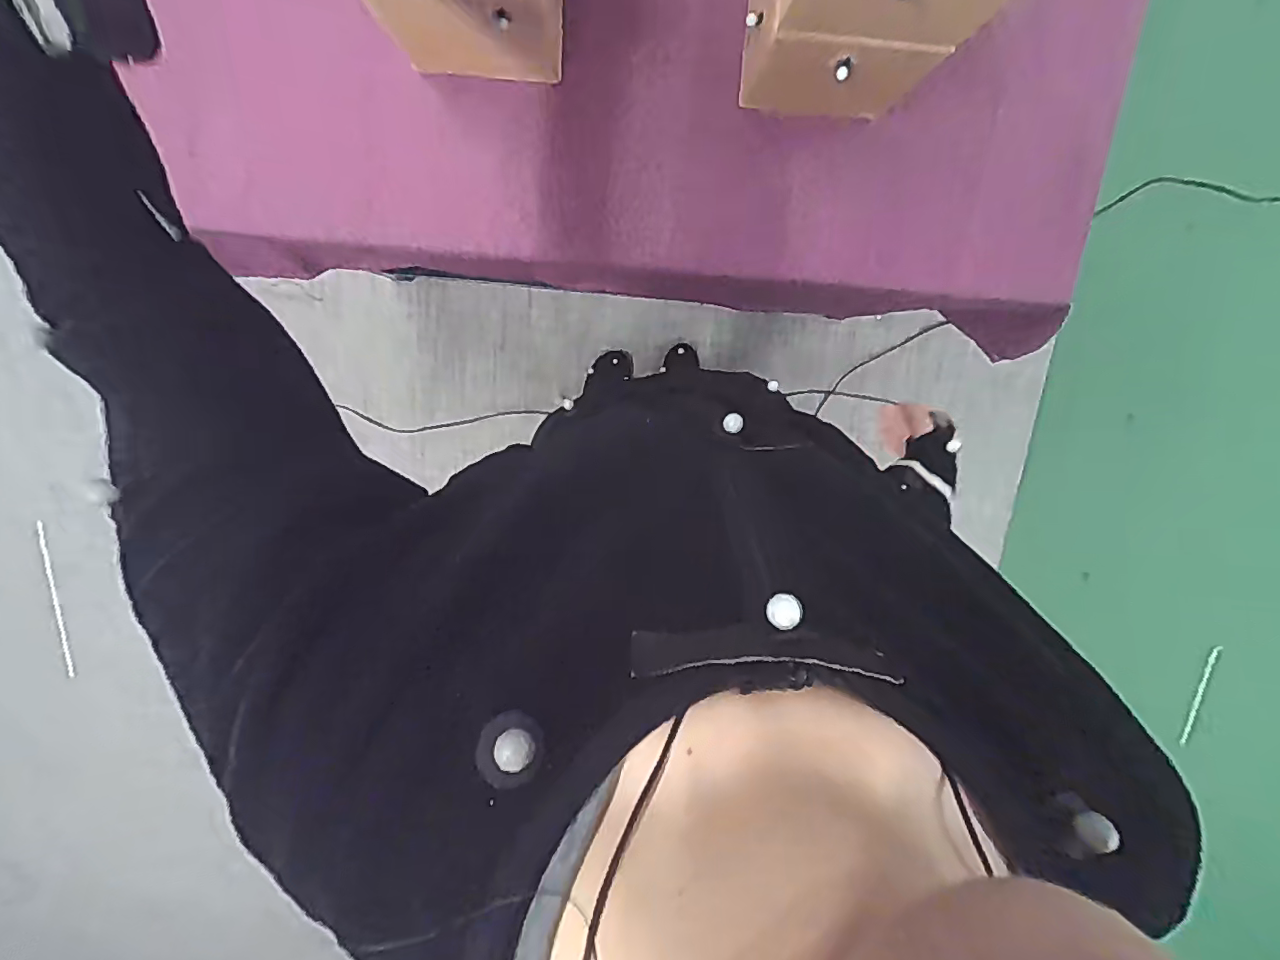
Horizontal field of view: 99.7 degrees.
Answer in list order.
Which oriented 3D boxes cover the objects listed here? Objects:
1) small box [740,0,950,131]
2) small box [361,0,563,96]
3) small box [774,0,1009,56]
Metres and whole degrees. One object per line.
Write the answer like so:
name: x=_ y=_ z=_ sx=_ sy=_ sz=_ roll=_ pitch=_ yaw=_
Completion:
small box: x=0.214 y=-0.501 z=0.578 sx=0.179 sy=0.176 sz=0.168 roll=4 pitch=103 yaw=-3
small box: x=-0.176 y=-0.531 z=0.559 sx=0.179 sy=0.176 sz=0.168 roll=2 pitch=102 yaw=-3
small box: x=0.219 y=-0.466 z=0.418 sx=0.179 sy=0.176 sz=0.168 roll=3 pitch=103 yaw=-2
